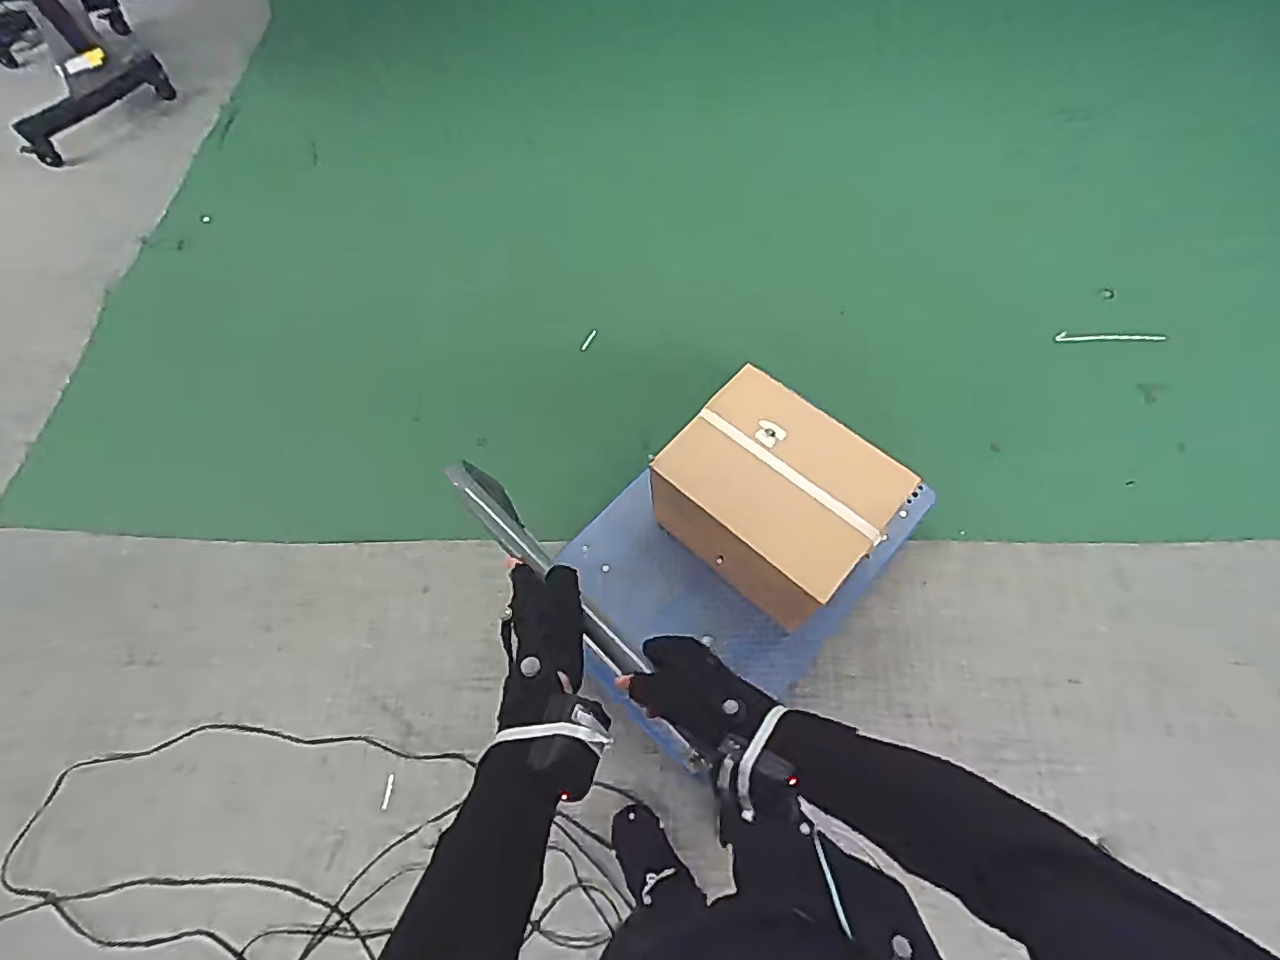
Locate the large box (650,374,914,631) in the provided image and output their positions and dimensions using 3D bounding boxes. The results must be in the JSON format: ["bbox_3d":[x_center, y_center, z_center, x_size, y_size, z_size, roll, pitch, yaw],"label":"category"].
[{"bbox_3d":[0.277,0.058,1.161,0.408,0.320,0.320,39,73,19],"label":"large box"}]
